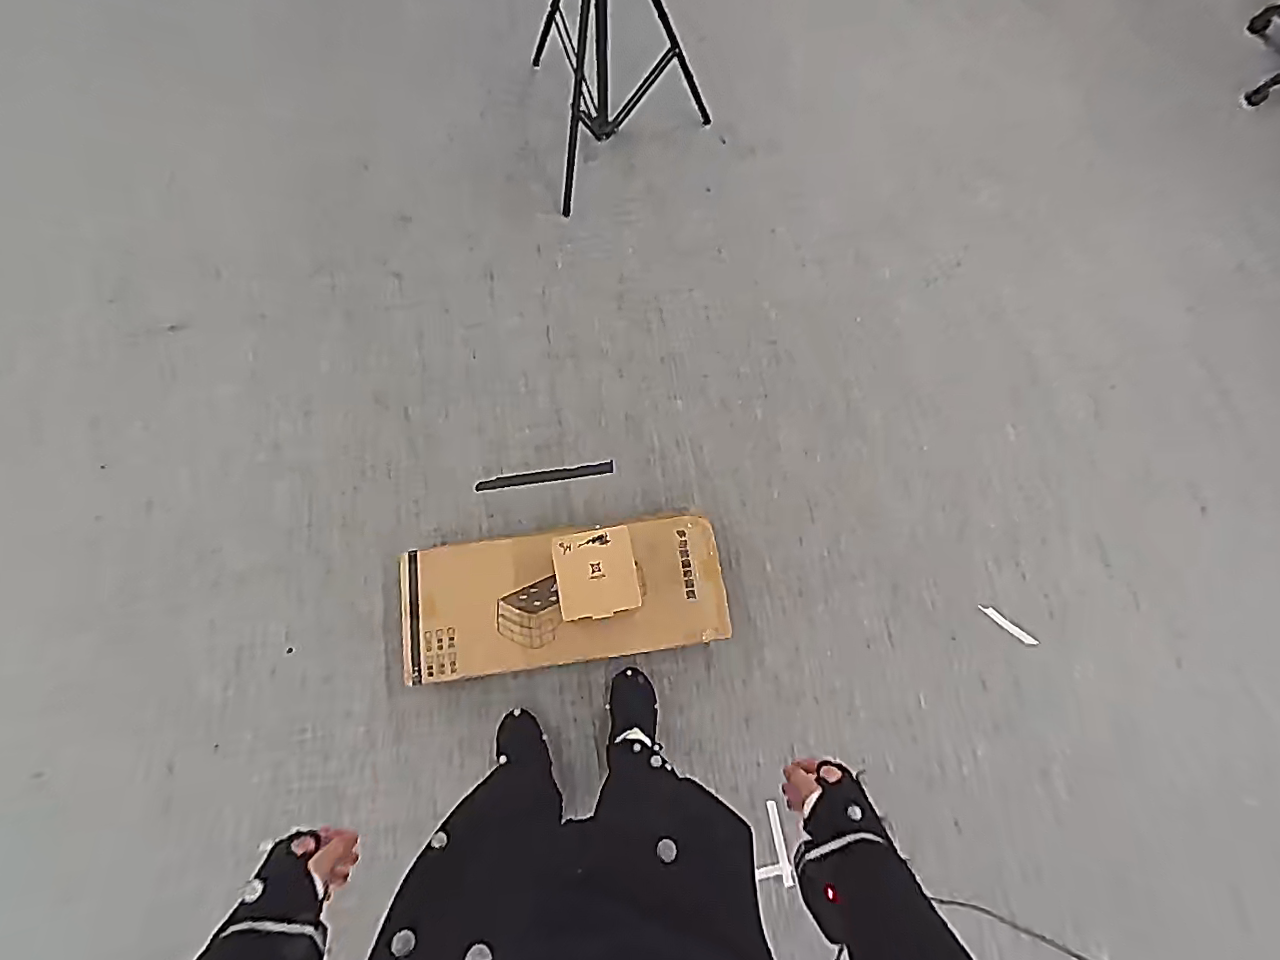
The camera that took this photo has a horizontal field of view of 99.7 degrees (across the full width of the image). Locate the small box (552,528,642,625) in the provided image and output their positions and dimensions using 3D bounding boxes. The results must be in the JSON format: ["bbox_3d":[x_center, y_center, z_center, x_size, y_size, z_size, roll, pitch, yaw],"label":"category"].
[{"bbox_3d":[-0.092,0.215,1.184,0.168,0.176,0.179,-9,76,-6],"label":"small box"}]
